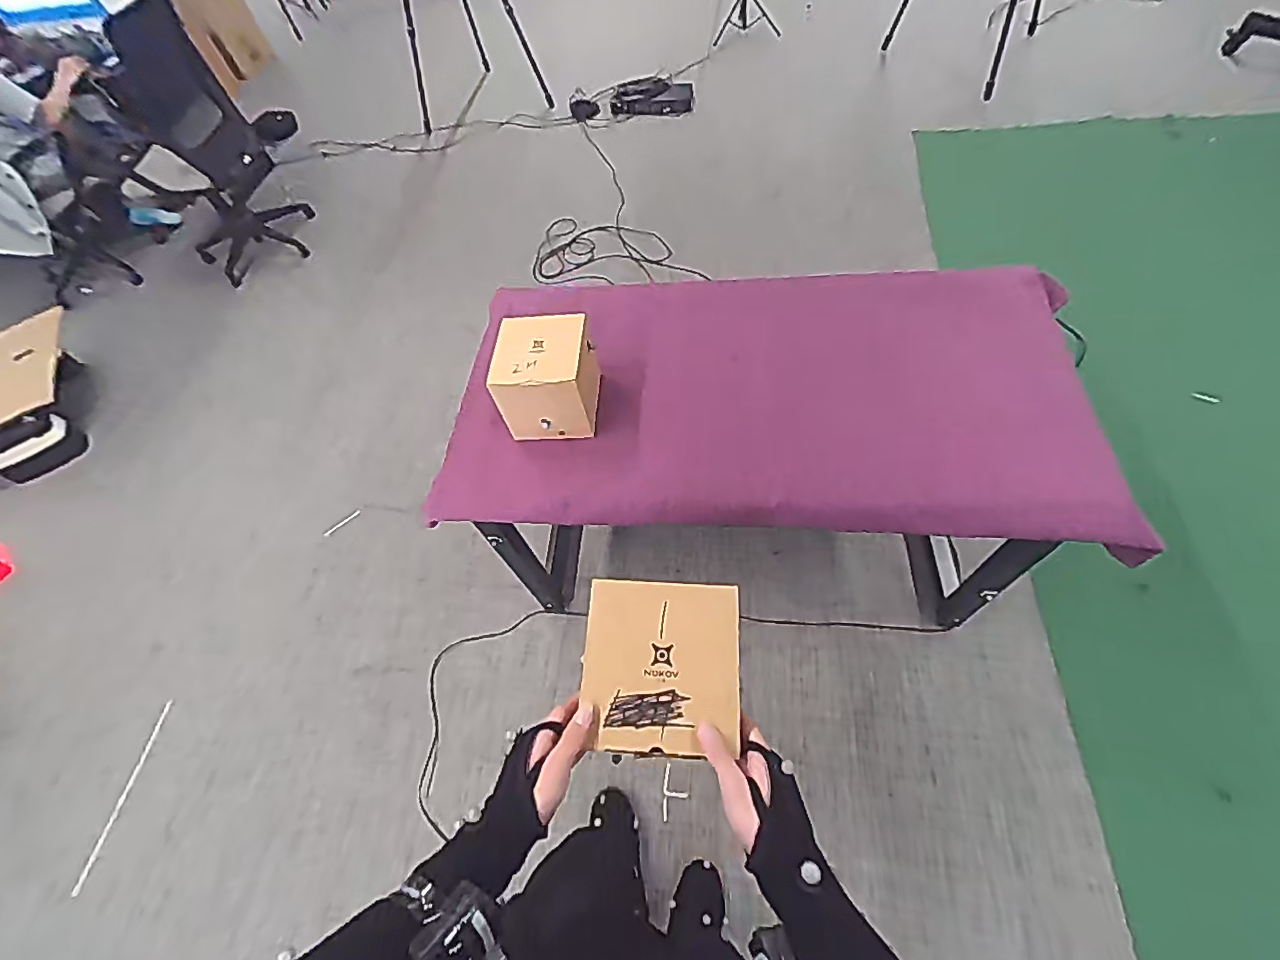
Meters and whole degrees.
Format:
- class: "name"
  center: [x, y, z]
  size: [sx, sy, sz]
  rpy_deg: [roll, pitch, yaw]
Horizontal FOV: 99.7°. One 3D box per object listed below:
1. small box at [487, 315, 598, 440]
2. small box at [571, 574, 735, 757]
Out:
- class: "small box"
  center: [-0.180, -0.198, 1.063]
  size: [0.168, 0.176, 0.179]
  rpy_deg: [-1, 58, 7]
- class: "small box"
  center: [0.022, 0.222, 0.640]
  size: [0.168, 0.176, 0.179]
  rpy_deg: [3, 64, 4]
